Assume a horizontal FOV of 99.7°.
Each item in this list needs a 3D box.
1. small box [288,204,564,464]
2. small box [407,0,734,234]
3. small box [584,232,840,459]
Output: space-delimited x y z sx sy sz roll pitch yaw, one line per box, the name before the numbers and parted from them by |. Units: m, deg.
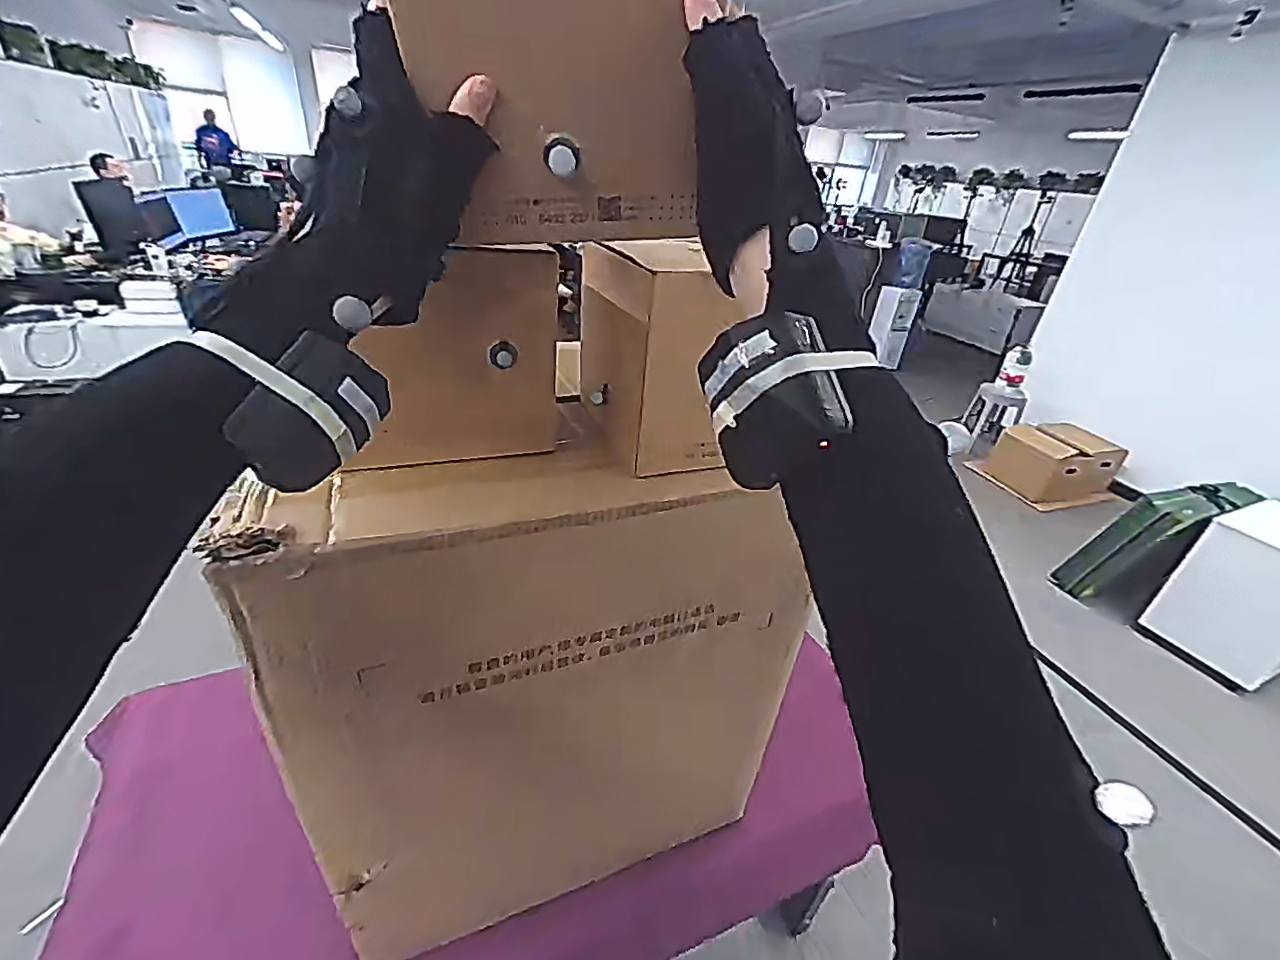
small box | -0.173 -0.128 0.461 0.179 0.176 0.168 -8 32 -22
small box | -0.047 -0.274 0.342 0.168 0.176 0.179 -6 48 -7
small box | 0.049 -0.128 0.505 0.168 0.176 0.179 -8 33 -20
